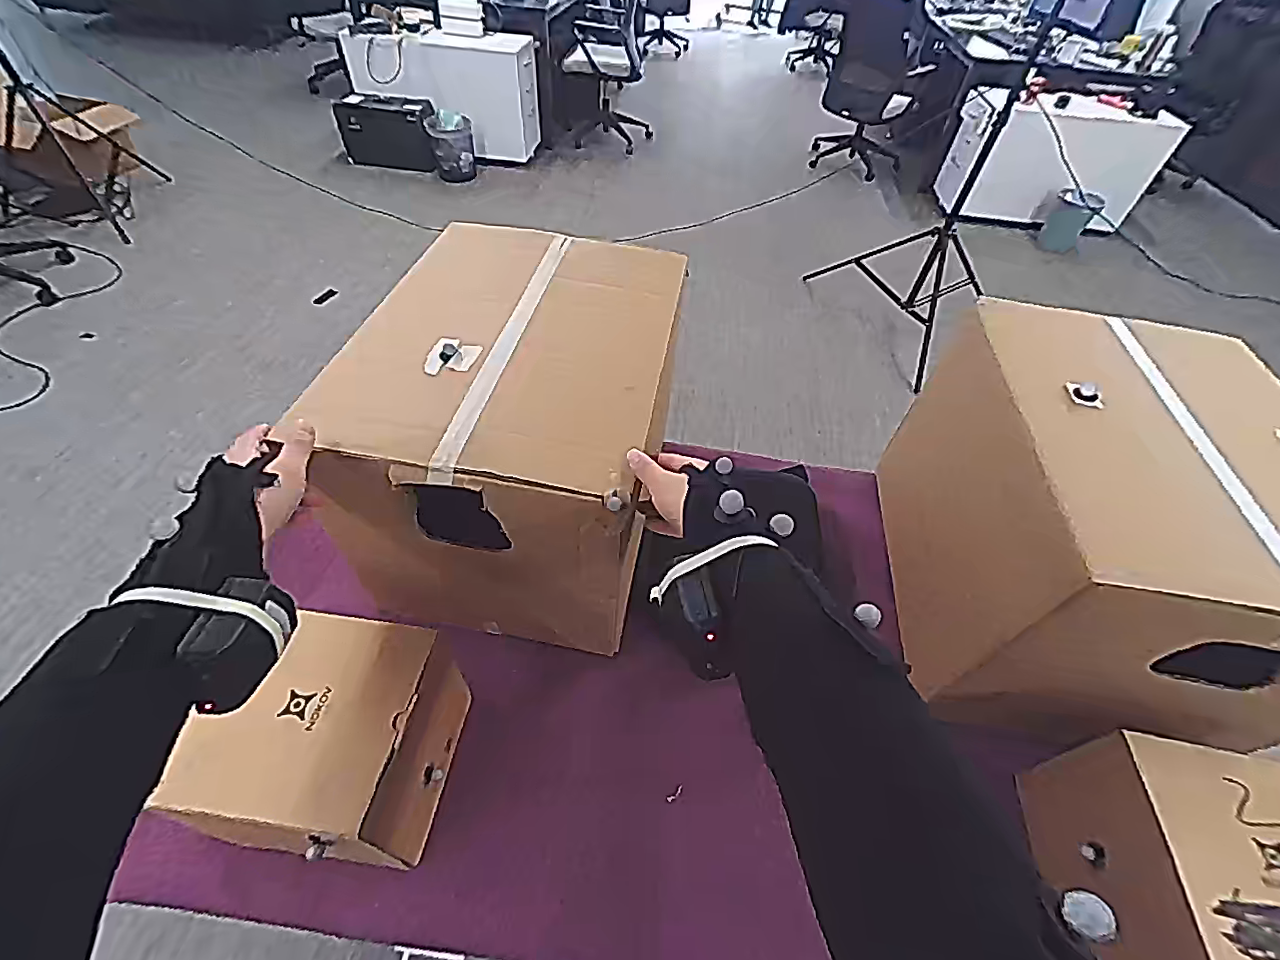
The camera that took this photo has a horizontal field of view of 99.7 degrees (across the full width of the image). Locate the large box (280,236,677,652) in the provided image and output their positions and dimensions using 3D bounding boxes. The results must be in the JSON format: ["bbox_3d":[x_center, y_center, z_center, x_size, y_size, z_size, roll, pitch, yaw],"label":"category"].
[{"bbox_3d":[-0.140,-0.050,0.689,0.320,0.320,0.408,8,52,4],"label":"large box"}]

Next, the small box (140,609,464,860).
[{"bbox_3d":[-0.288,0.245,0.515,0.179,0.176,0.168,7,48,1],"label":"small box"}]
